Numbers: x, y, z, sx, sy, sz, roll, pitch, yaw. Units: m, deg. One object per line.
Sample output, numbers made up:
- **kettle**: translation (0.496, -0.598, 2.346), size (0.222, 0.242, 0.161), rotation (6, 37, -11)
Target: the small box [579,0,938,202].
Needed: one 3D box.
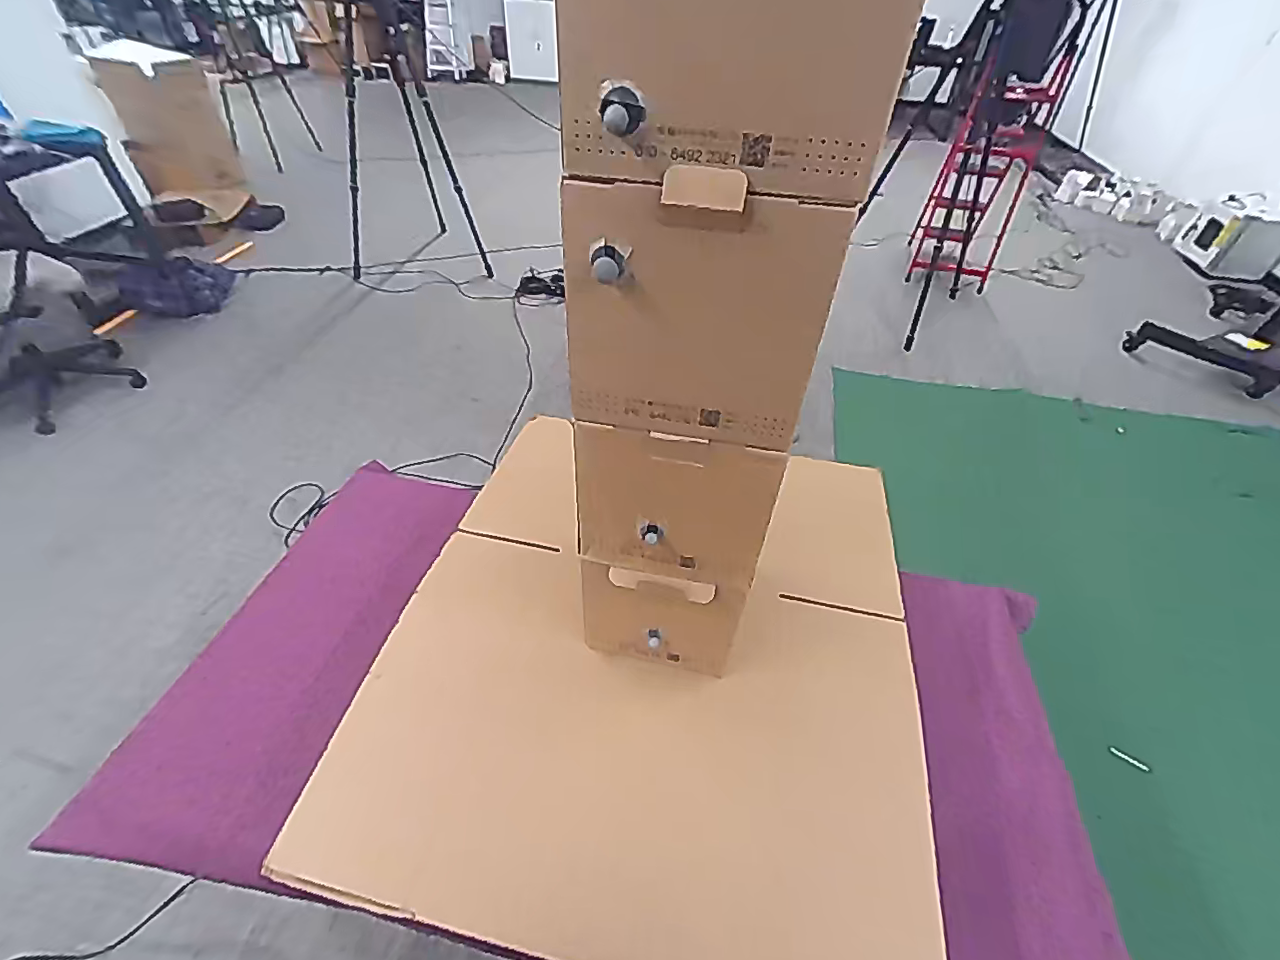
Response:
- **small box**: translation (0.062, -0.271, 0.299), size (0.168, 0.176, 0.179), rotation (7, 44, 3)

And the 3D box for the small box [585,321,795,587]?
- **small box**: translation (0.046, -0.028, 0.520), size (0.168, 0.176, 0.179), rotation (10, 43, 6)

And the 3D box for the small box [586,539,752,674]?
- **small box**: translation (0.039, 0.092, 0.630), size (0.168, 0.176, 0.179), rotation (11, 43, 8)
